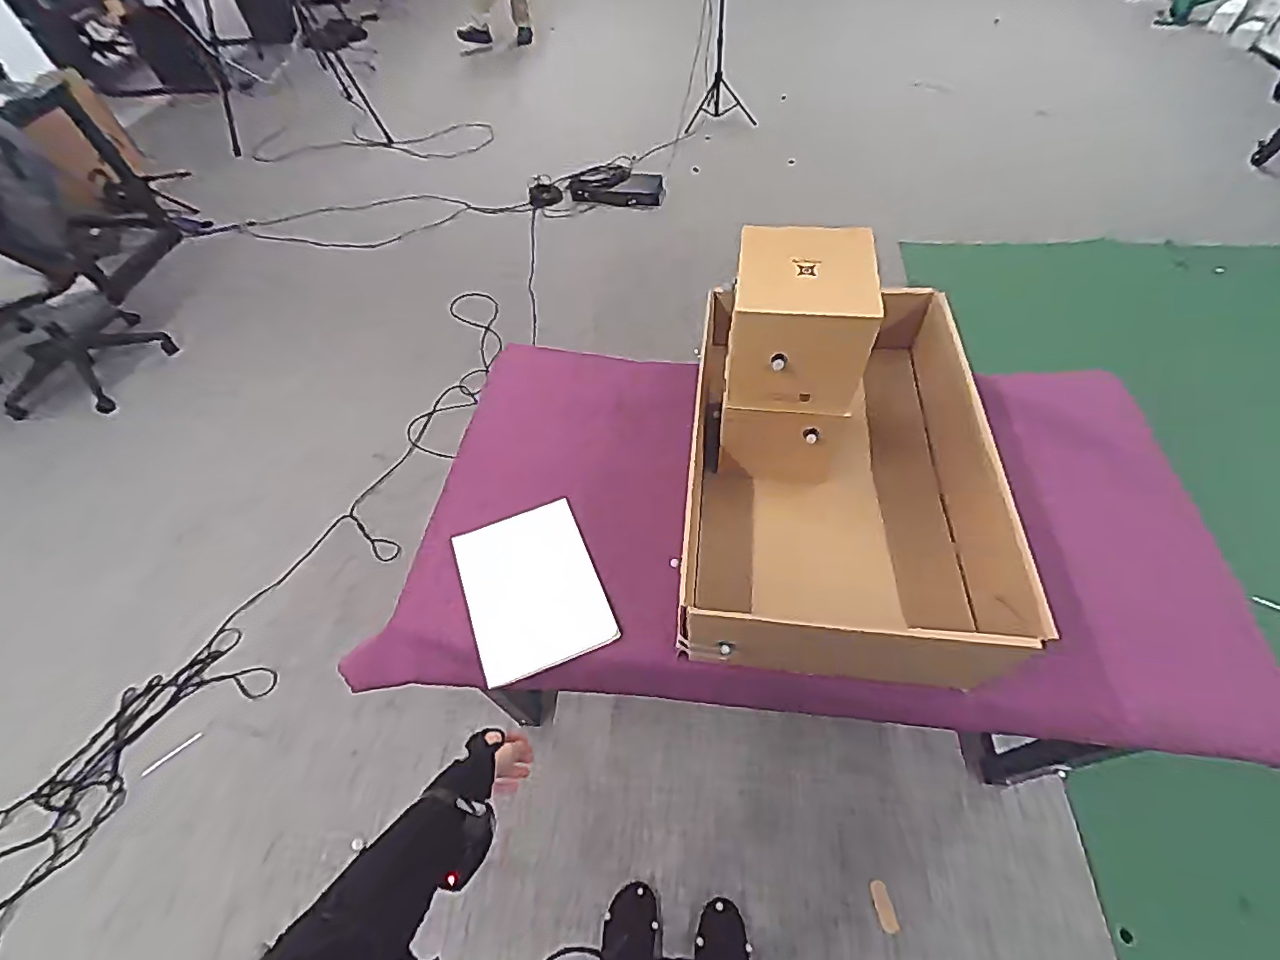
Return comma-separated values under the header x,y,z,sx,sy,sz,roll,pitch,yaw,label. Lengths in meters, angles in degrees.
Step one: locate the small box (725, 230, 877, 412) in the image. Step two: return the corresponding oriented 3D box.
x,y,z,sx,sy,sz,roll,pitch,yaw,label
0.204,-0.208,0.724,0.168,0.176,0.179,5,55,8,small box
